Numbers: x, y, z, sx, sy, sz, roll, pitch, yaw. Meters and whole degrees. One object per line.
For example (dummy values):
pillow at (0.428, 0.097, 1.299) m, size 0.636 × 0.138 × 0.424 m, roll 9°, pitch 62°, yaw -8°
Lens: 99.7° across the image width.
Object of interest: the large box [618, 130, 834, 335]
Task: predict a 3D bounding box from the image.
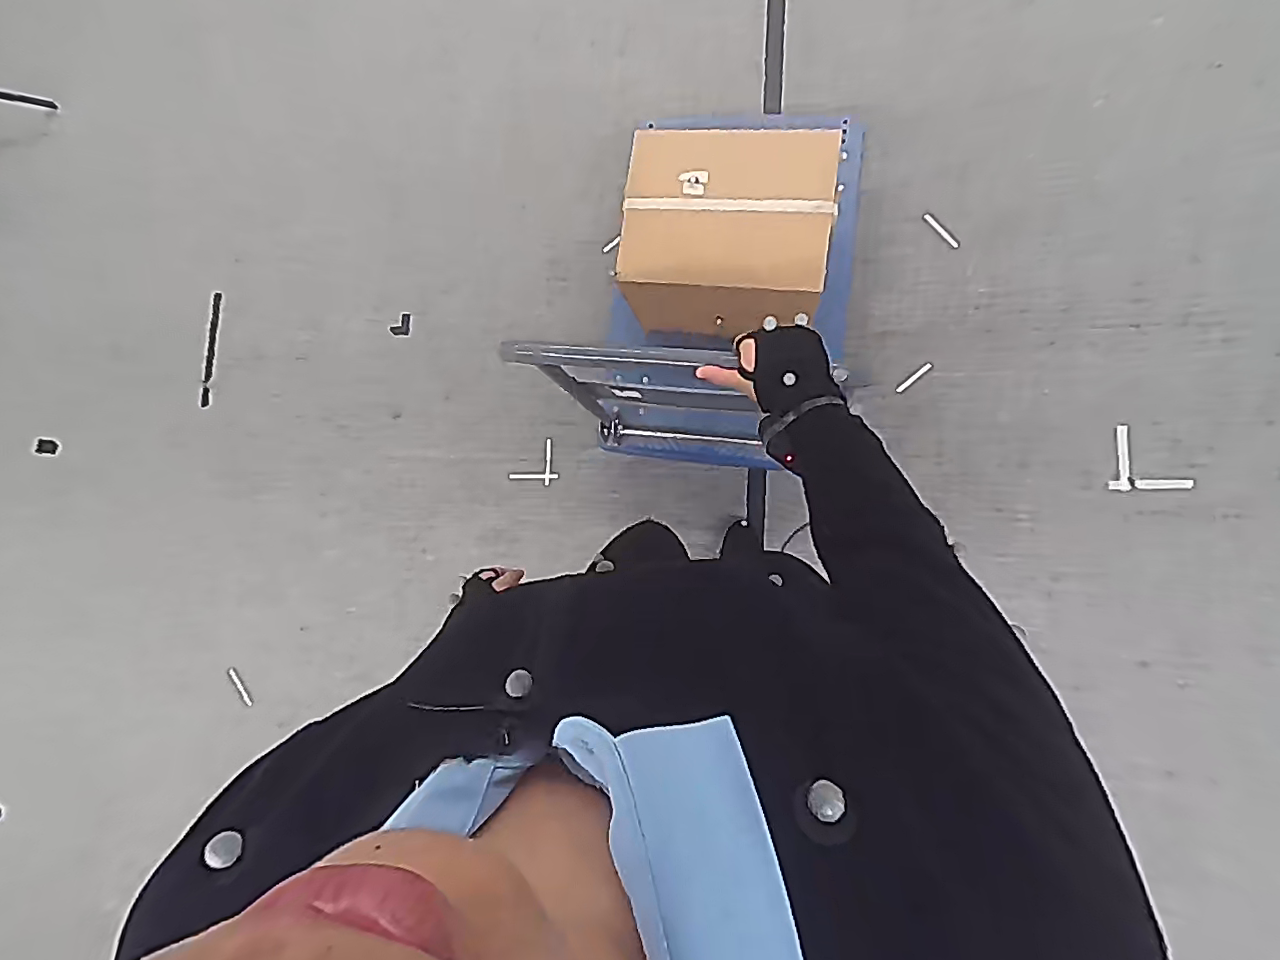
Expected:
large box at (0.197, -0.524, 1.208) m, size 0.408 × 0.320 × 0.320 m, roll 7°, pitch 87°, yaw 13°
